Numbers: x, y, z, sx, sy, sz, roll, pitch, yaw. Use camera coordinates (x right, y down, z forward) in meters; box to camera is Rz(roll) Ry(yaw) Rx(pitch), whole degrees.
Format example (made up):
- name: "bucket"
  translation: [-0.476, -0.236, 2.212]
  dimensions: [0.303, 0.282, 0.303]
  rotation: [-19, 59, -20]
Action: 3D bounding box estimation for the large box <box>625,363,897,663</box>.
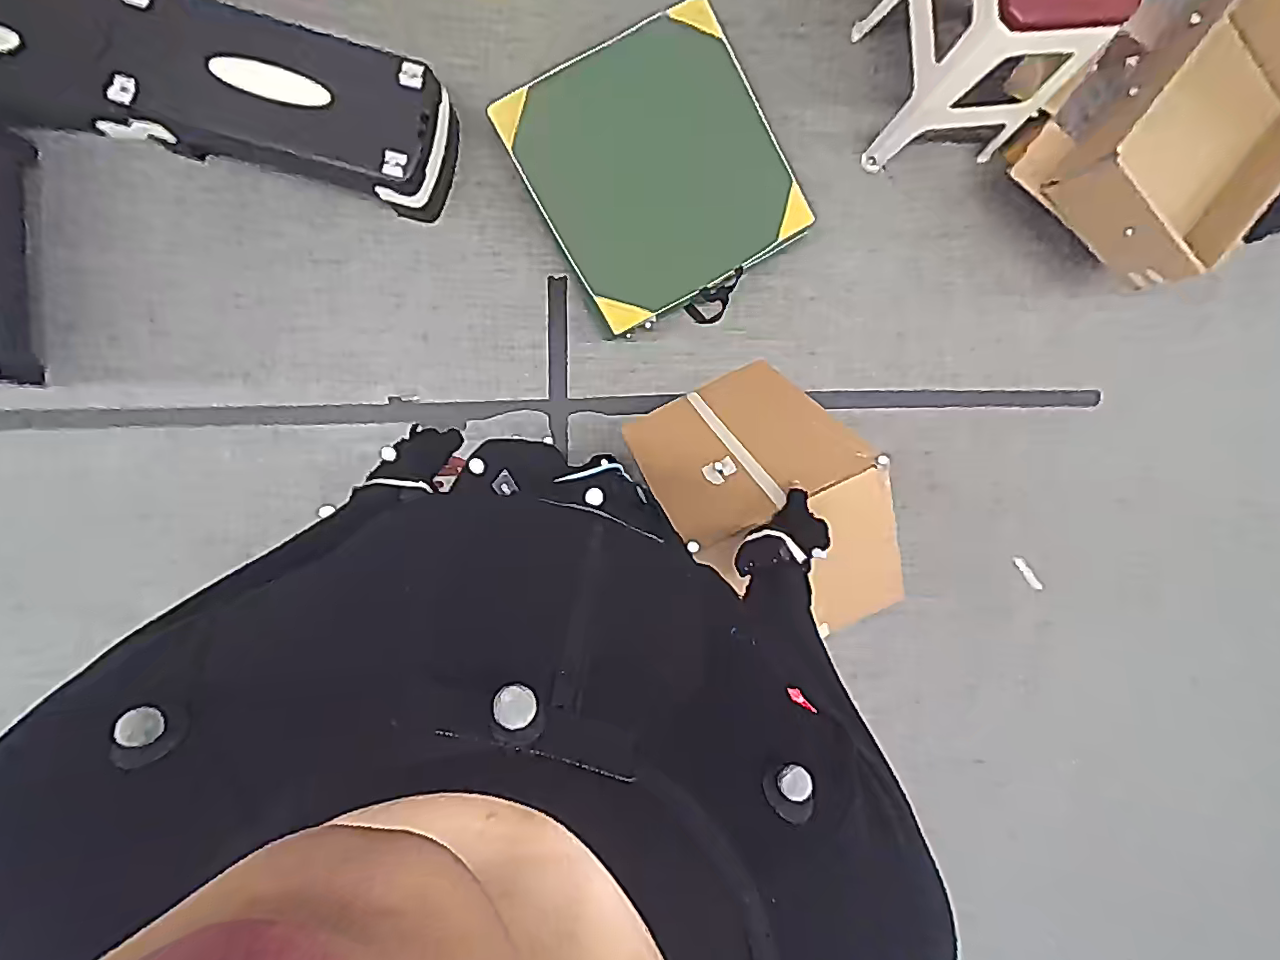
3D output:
- name: "large box"
  translation: [0.210, 0.045, 1.004]
  dimensions: [0.320, 0.408, 0.320]
  rotation: [-27, 127, 1]
